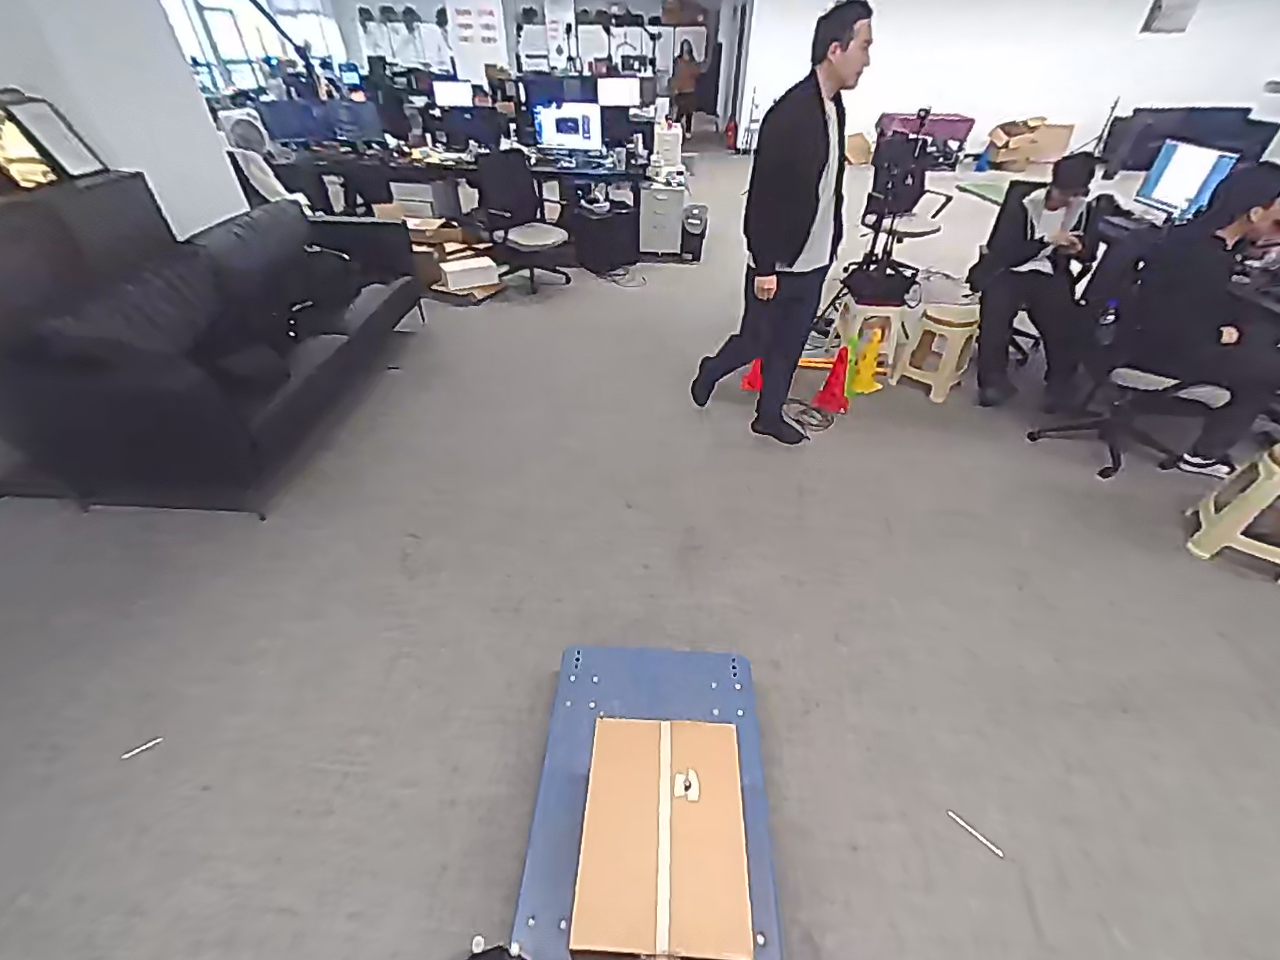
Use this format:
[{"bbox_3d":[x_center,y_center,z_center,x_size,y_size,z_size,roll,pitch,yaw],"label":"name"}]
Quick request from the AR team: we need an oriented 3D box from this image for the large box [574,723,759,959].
[{"bbox_3d":[0.051,0.783,1.129,0.320,0.320,0.408,3,38,2],"label":"large box"}]
